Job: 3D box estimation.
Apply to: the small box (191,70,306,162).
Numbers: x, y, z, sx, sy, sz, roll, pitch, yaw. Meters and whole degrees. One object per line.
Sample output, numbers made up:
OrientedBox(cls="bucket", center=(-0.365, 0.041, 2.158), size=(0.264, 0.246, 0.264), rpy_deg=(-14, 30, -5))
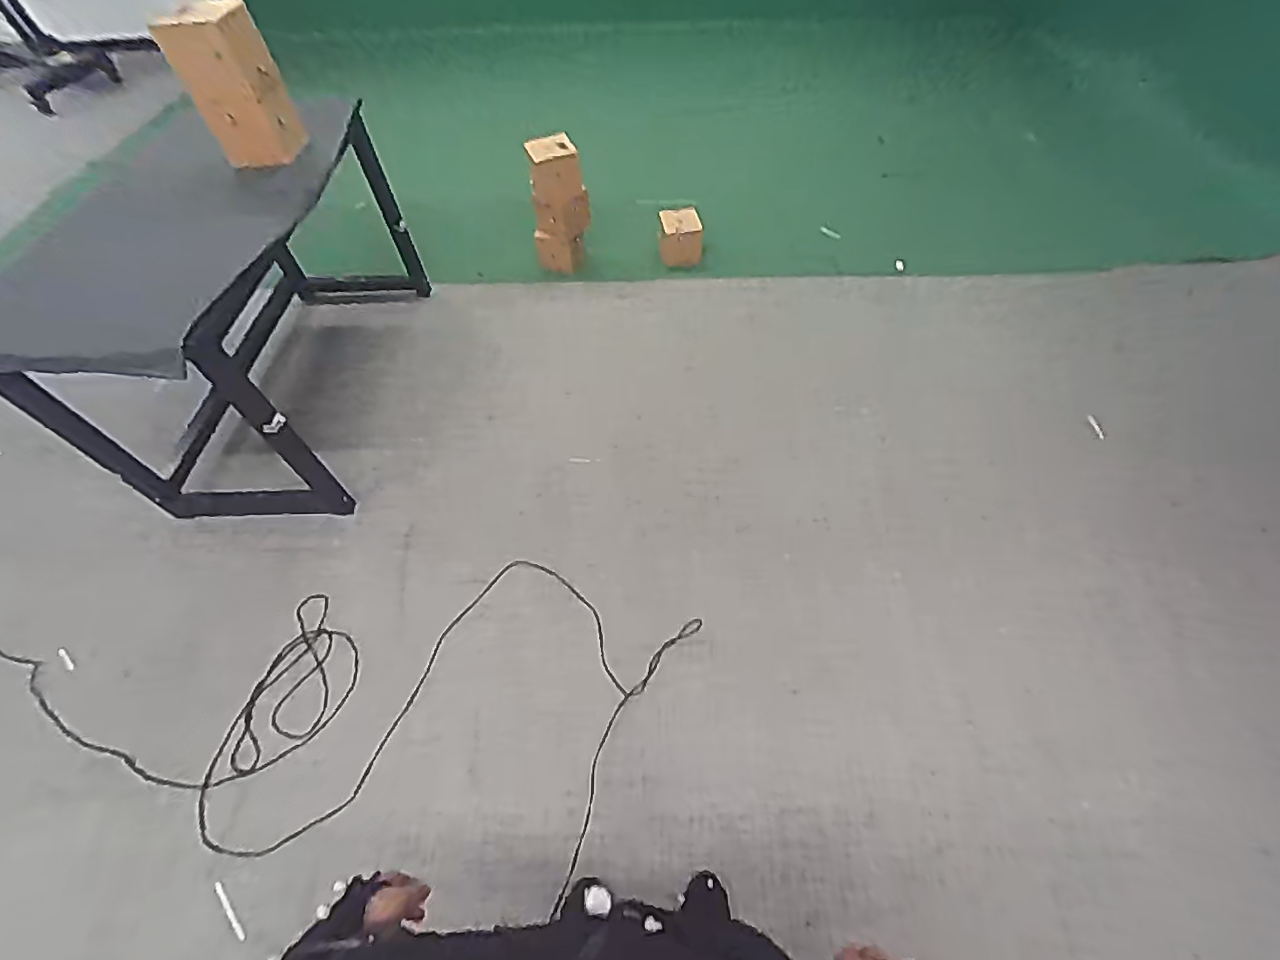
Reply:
OrientedBox(cls="small box", center=(-1.094, -1.027, 1.531), size=(0.179, 0.176, 0.168), rpy_deg=(-2, 56, 2))

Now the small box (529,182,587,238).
OrientedBox(cls="small box", center=(-0.338, -1.156, 2.283), size=(0.168, 0.176, 0.179), rpy_deg=(32, 62, 20))

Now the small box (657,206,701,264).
OrientedBox(cls="small box", center=(0.170, -1.098, 2.425), size=(0.168, 0.176, 0.179), rpy_deg=(-8, 55, -5))

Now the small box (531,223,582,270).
OrientedBox(cls="small box", center=(-0.365, -1.069, 2.422), size=(0.168, 0.176, 0.179), rpy_deg=(13, 57, 10))

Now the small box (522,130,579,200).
OrientedBox(cls="small box", center=(-0.350, -1.248, 2.148), size=(0.179, 0.176, 0.168), rpy_deg=(-20, 59, -11))
